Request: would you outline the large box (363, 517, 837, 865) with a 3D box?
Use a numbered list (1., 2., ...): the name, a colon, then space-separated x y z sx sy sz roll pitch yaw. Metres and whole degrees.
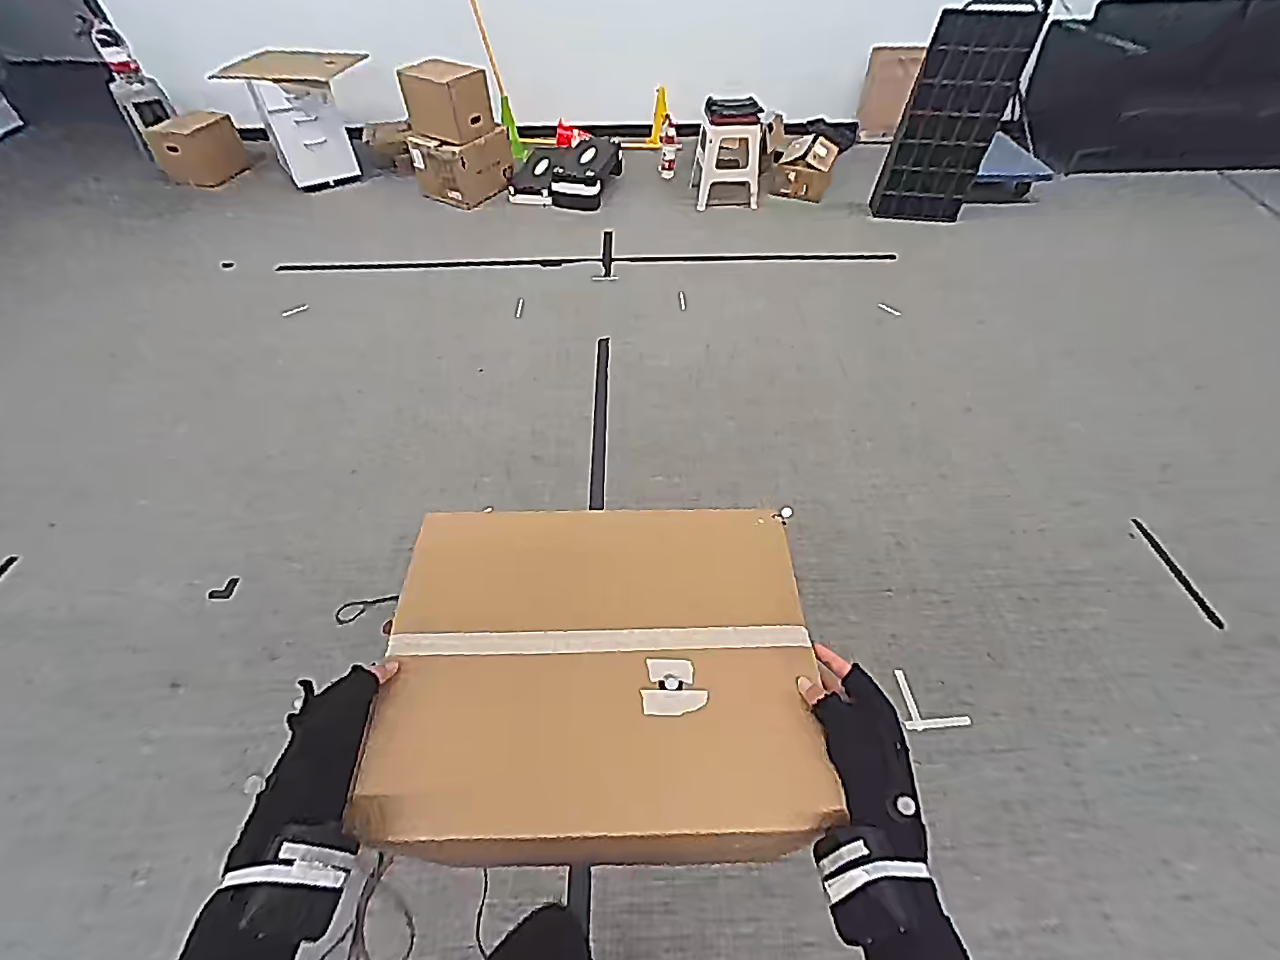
1. large box: -0.039 0.259 0.654 0.408 0.320 0.320 0 52 -2
